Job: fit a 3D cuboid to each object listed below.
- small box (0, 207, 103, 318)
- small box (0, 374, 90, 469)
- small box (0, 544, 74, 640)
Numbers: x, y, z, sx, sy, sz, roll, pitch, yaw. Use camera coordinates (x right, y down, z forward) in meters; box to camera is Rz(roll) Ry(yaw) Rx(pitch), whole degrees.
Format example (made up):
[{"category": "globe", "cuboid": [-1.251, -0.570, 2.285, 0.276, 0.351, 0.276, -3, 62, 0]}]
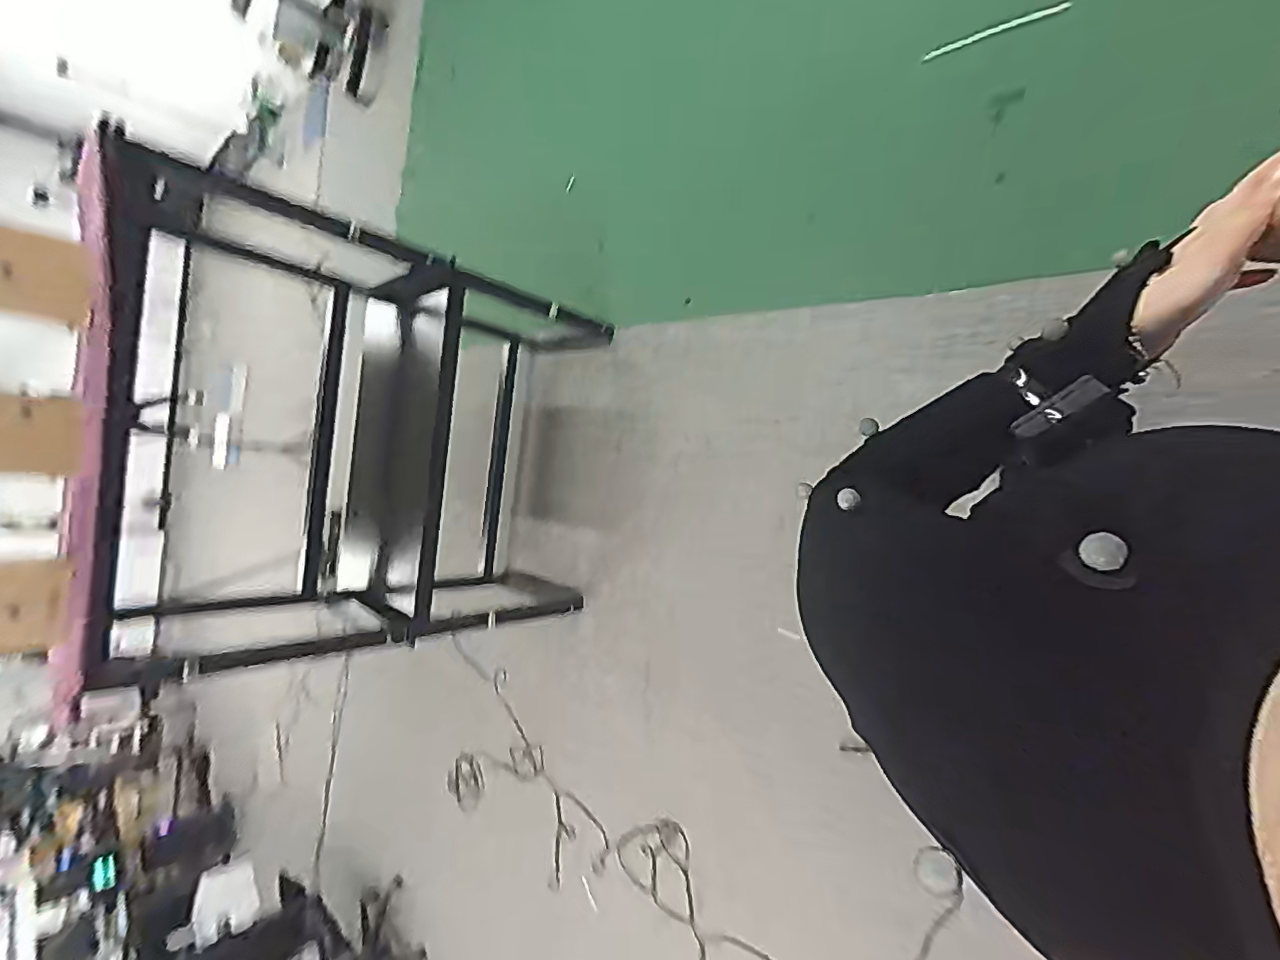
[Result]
[{"category": "small box", "cuboid": [-1.243, -0.444, 1.122, 0.168, 0.176, 0.179, 10, 93, 43]}, {"category": "small box", "cuboid": [-1.258, -0.121, 1.112, 0.168, 0.176, 0.179, 6, 91, 42]}, {"category": "small box", "cuboid": [-1.277, 0.221, 1.093, 0.179, 0.176, 0.168, 5, 88, 41]}]
